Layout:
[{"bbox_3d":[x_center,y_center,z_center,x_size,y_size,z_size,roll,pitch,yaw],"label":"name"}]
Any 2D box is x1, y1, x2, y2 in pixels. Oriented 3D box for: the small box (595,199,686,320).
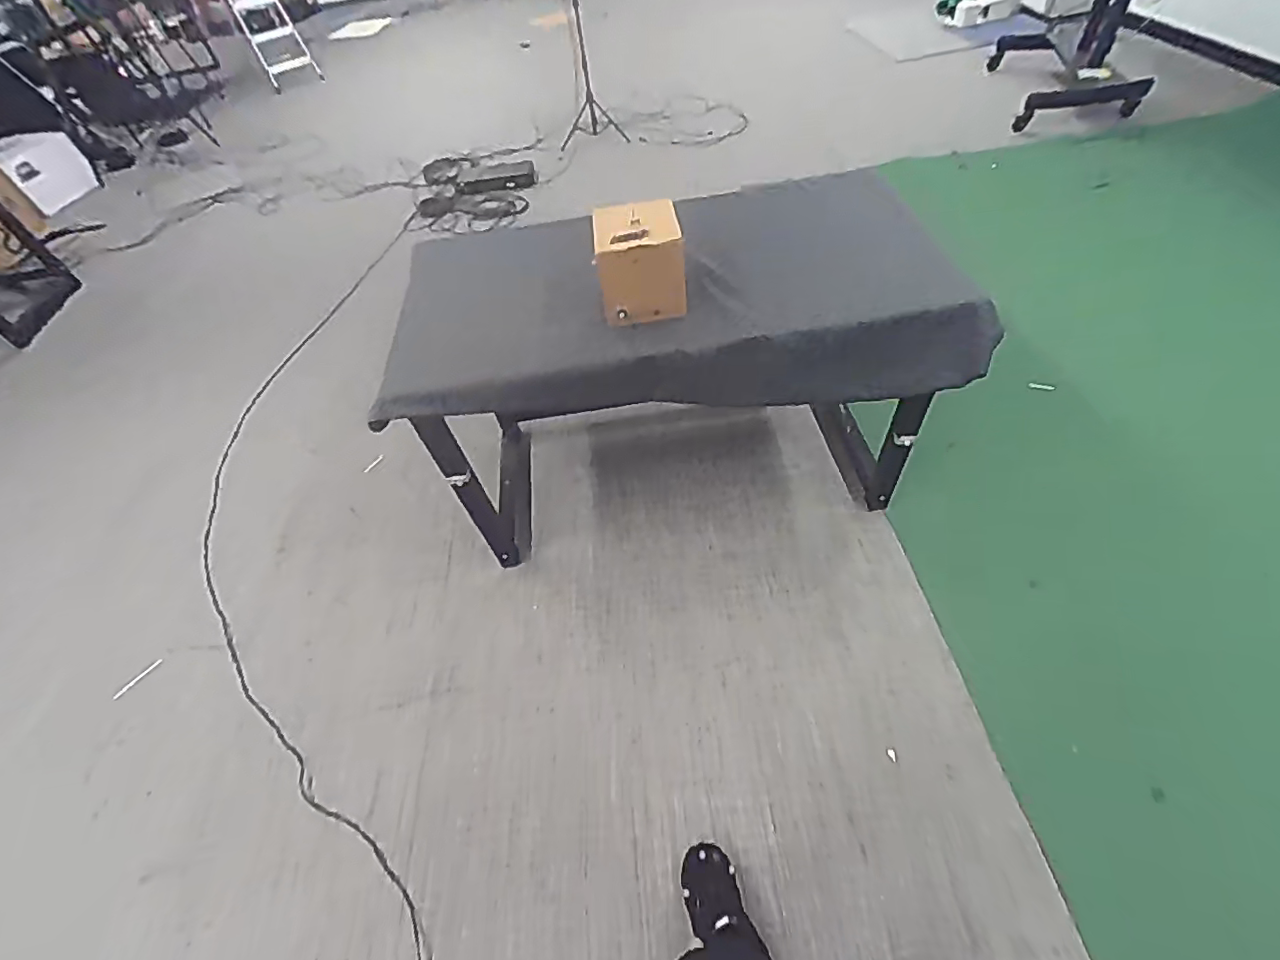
[{"bbox_3d":[0.002,-0.447,1.116,0.168,0.176,0.179,-7,51,1],"label":"small box"}]
